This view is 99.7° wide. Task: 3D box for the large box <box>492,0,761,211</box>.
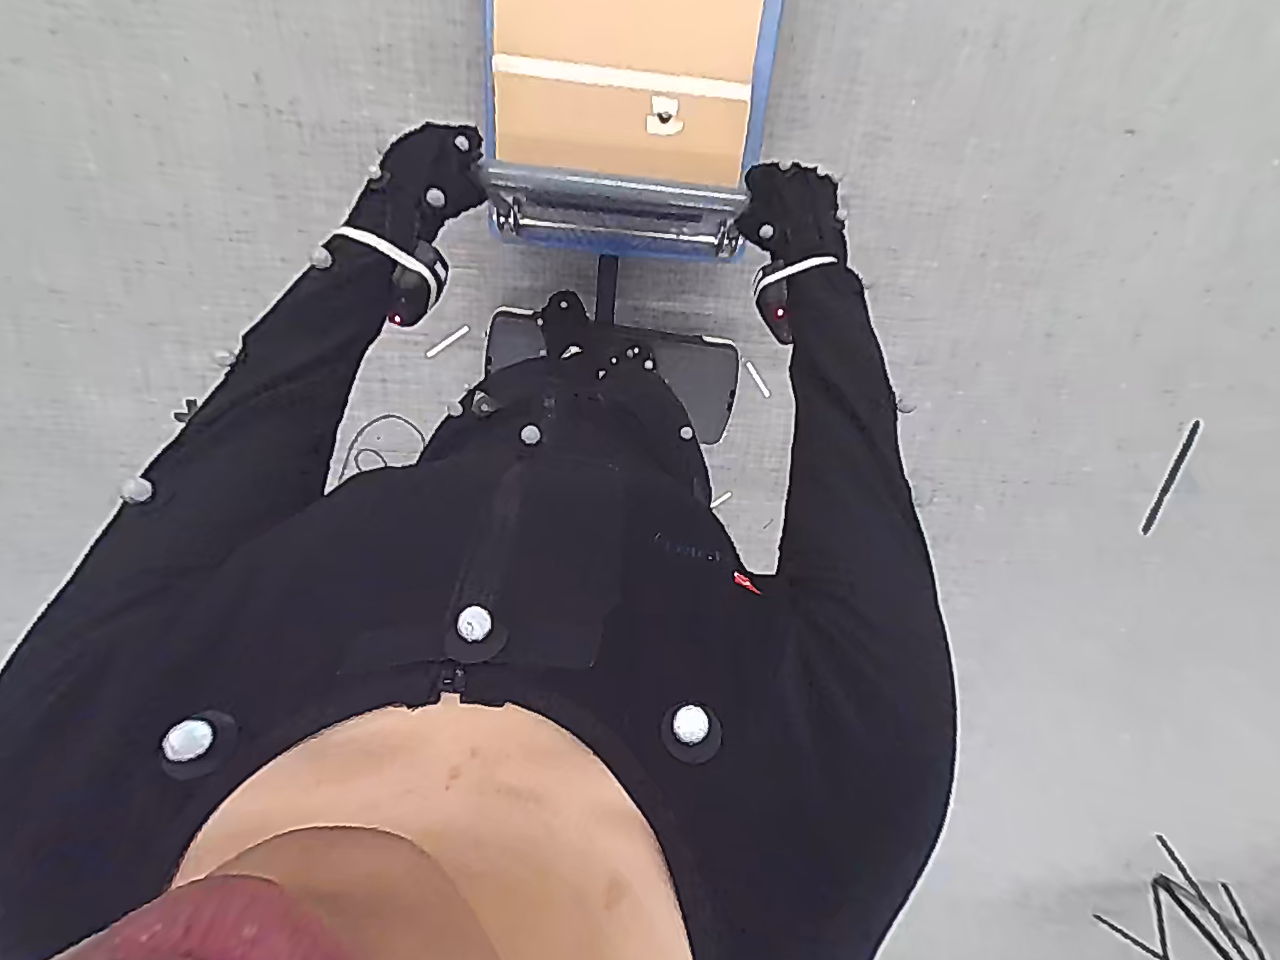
[{"bbox_3d":[-0.037,-0.681,0.977,0.408,0.320,0.320,3,113,-6],"label":"large box"}]
